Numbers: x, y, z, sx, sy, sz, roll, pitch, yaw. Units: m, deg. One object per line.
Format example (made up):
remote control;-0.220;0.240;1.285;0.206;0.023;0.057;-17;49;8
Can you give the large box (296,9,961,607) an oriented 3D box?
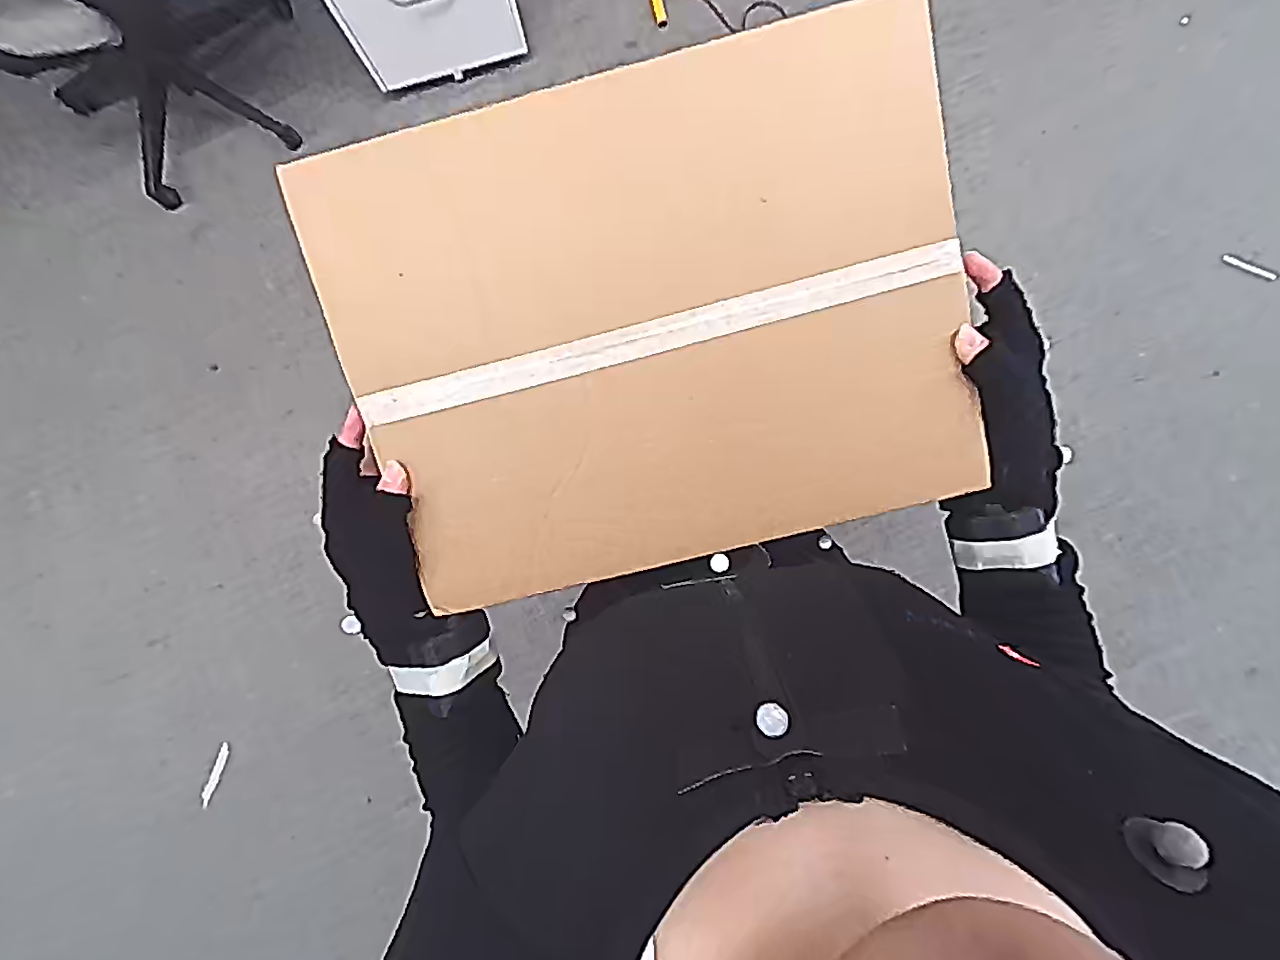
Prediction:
large box;0.005;-0.127;0.514;0.408;0.320;0.320;-14;100;3
